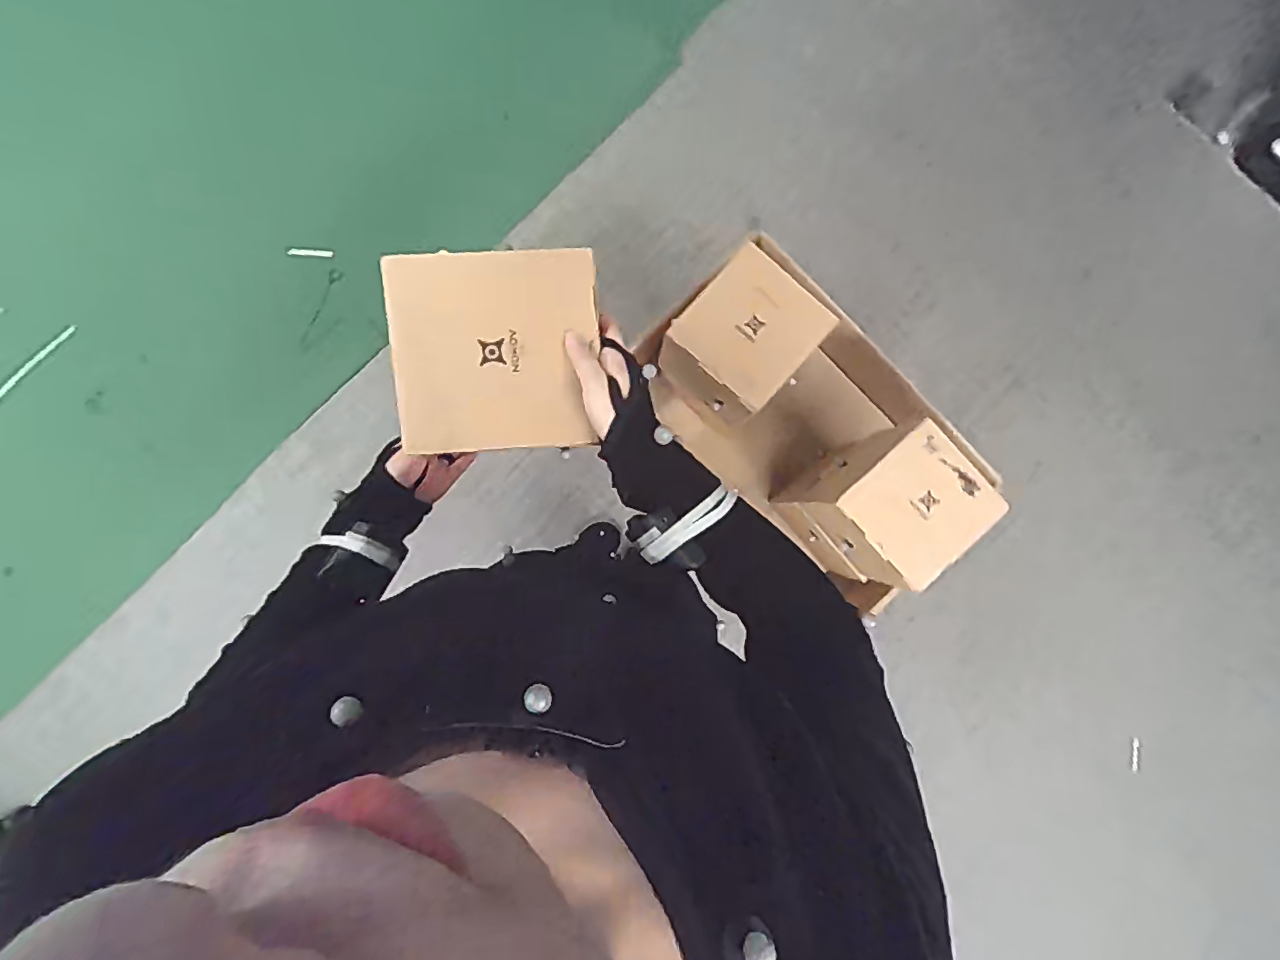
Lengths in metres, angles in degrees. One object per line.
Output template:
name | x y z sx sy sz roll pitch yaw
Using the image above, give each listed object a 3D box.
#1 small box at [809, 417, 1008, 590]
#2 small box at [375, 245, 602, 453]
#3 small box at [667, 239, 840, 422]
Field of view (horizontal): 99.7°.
small box | 0.374 0.033 0.798 0.179 0.176 0.168 -41 90 -1
small box | -0.130 -0.116 0.531 0.179 0.176 0.168 -6 97 -5
small box | 0.153 -0.205 0.801 0.168 0.176 0.179 43 88 0
